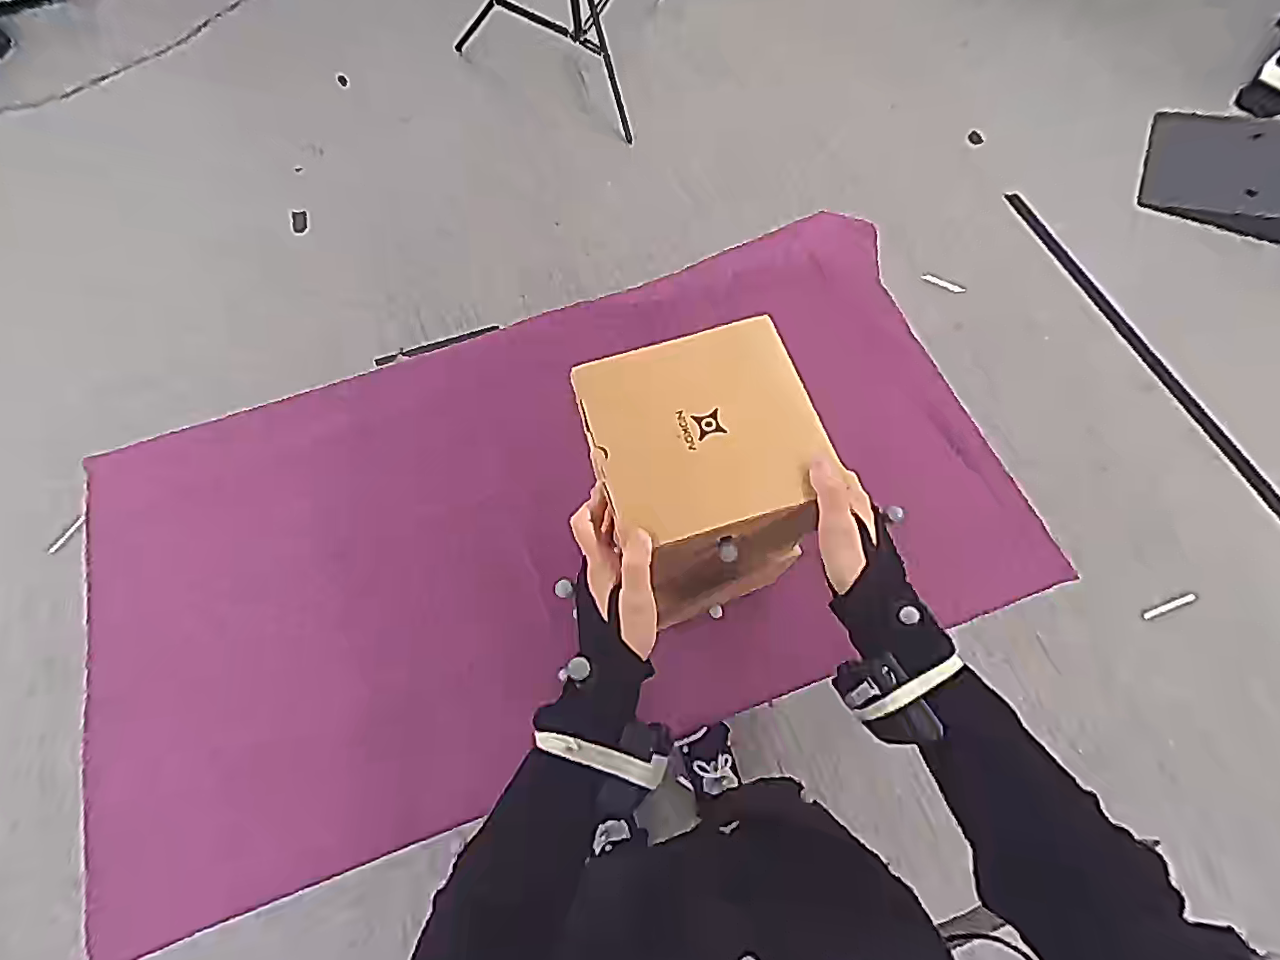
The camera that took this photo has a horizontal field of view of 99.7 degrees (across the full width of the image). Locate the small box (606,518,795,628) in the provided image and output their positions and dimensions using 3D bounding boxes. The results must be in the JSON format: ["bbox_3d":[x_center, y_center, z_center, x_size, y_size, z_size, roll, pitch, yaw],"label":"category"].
[{"bbox_3d":[0.055,0.059,0.643,0.168,0.176,0.179,-20,70,-6],"label":"small box"}]

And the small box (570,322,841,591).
[{"bbox_3d":[0.048,-0.010,0.496,0.179,0.176,0.168,-16,69,-3],"label":"small box"}]
